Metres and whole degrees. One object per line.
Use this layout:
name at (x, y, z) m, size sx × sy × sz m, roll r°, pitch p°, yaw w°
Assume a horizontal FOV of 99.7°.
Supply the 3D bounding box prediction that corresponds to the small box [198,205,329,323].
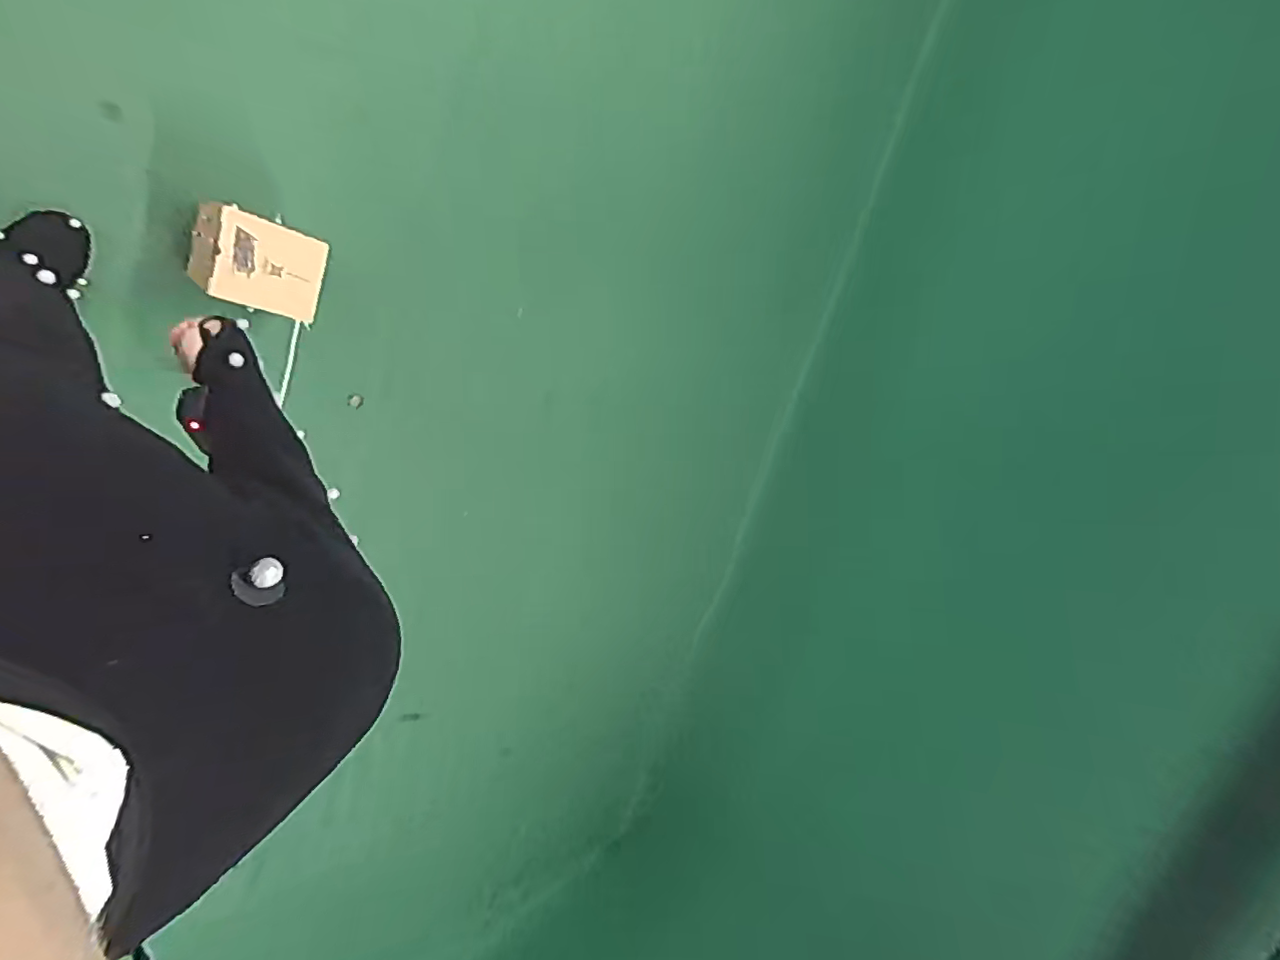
small box at (-0.767, -0.434, 1.095) m, size 0.179 × 0.176 × 0.168 m, roll 8°, pitch 105°, yaw -48°

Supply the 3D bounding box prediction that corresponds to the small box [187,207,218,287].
small box at (-0.876, -0.492, 1.203) m, size 0.179 × 0.176 × 0.168 m, roll 8°, pitch 105°, yaw -47°
